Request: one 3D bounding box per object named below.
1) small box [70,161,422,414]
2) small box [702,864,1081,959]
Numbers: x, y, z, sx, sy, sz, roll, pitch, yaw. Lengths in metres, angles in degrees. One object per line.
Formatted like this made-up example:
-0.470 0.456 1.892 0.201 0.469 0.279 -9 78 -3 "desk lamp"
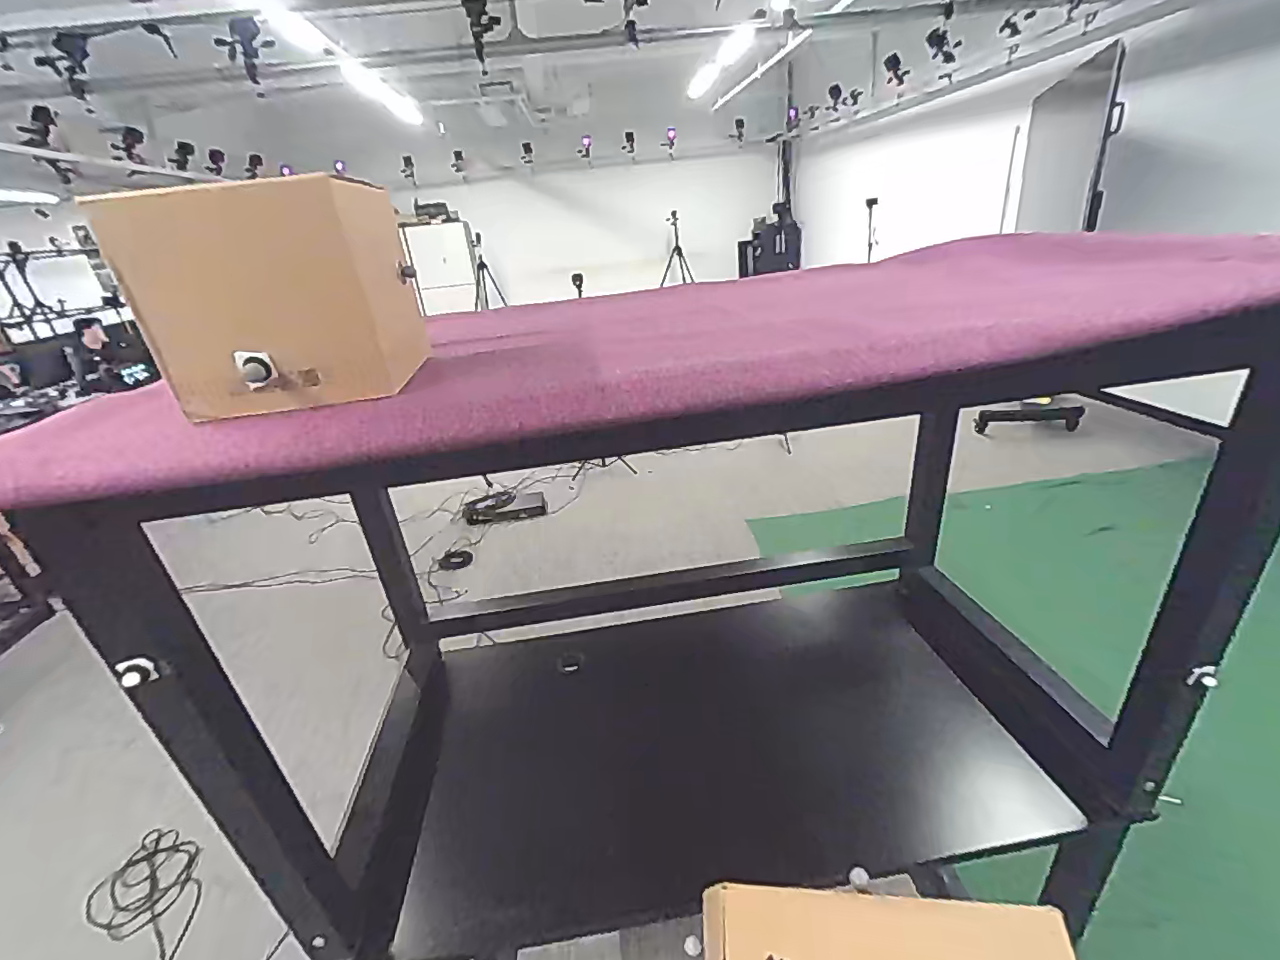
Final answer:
-0.308 -0.169 0.477 0.168 0.176 0.179 -11 27 -6 "small box"
0.123 0.318 0.292 0.179 0.176 0.168 2 53 3 "small box"
